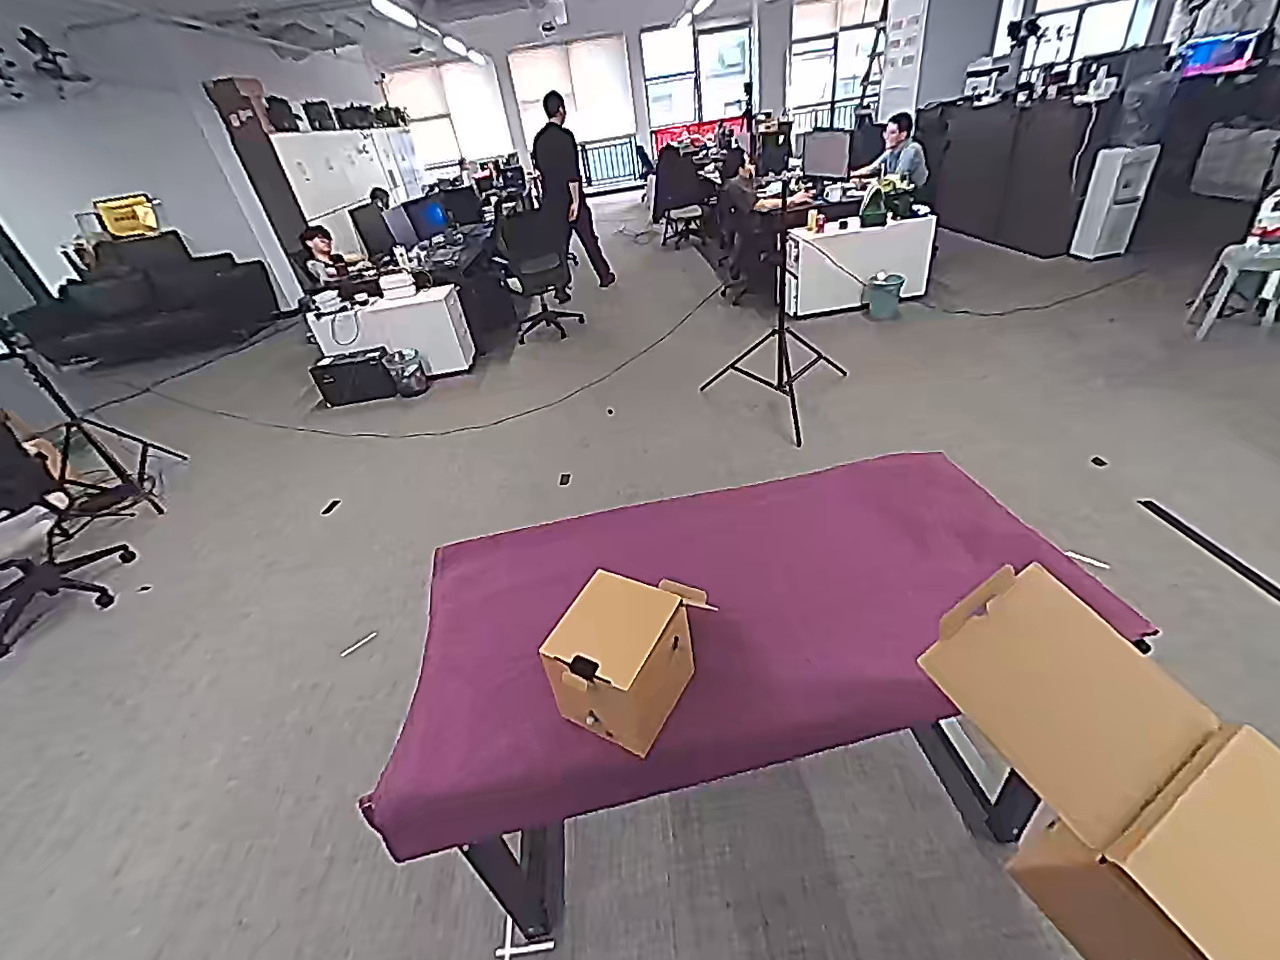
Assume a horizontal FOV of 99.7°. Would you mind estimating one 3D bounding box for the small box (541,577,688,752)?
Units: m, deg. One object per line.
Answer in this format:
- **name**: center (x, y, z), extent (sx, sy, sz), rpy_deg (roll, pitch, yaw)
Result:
- **small box**: center (-0.031, 0.294, 0.880), extent (0.168, 0.176, 0.179), rpy_deg (12, 39, 31)
